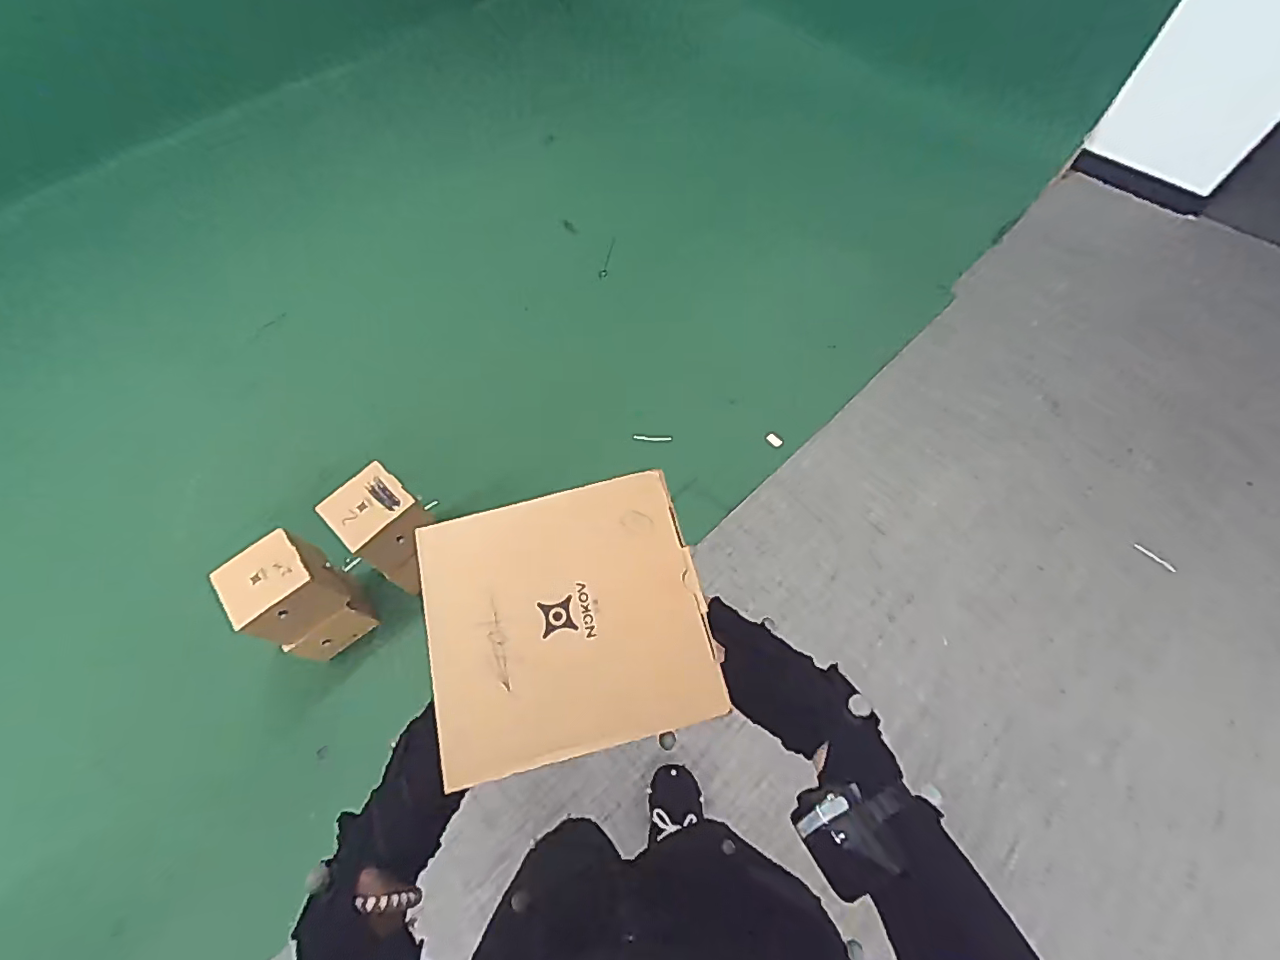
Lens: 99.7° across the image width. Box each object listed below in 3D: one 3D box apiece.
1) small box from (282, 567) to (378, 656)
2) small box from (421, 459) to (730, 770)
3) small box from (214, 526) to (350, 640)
[{"bbox_3d":[-0.813,0.333,1.393,0.168,0.176,0.179,-36,66,-15],"label":"small box"},{"bbox_3d":[-0.046,0.105,0.422,0.179,0.176,0.168,-14,68,-4],"label":"small box"},{"bbox_3d":[-0.821,0.244,1.254,0.179,0.176,0.168,-37,66,-15],"label":"small box"}]
